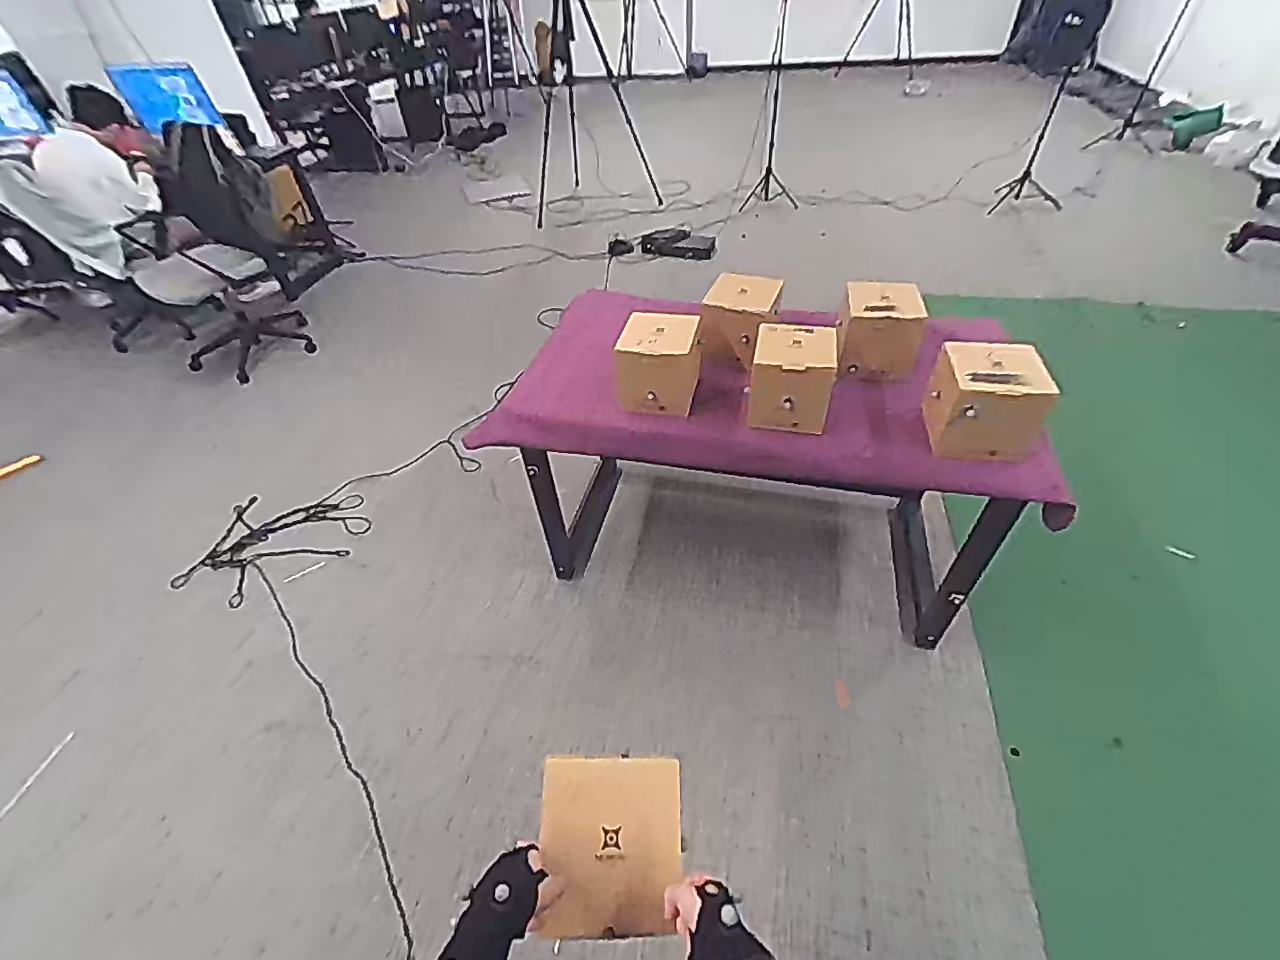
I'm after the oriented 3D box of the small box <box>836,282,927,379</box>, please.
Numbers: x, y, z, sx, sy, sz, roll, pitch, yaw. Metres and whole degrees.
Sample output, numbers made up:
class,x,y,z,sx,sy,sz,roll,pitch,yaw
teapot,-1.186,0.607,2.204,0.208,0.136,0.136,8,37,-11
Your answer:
class,x,y,z,sx,sy,sz,roll,pitch,yaw
small box,0.575,-0.362,1.312,0.168,0.176,0.179,6,44,11

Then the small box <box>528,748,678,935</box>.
class,x,y,z,sx,sy,sz,roll,pitch,yaw
small box,-0.050,0.439,0.686,0.168,0.176,0.179,4,66,-8

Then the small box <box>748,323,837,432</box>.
class,x,y,z,sx,sy,sz,roll,pitch,yaw
small box,0.334,-0.225,1.193,0.168,0.176,0.179,8,45,12

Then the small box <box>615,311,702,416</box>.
class,x,y,z,sx,sy,sz,roll,pitch,yaw
small box,0.047,-0.274,1.265,0.168,0.176,0.179,7,45,12

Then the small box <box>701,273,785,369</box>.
class,x,y,z,sx,sy,sz,roll,pitch,yaw
small box,0.261,-0.406,1.384,0.168,0.176,0.179,16,48,18
